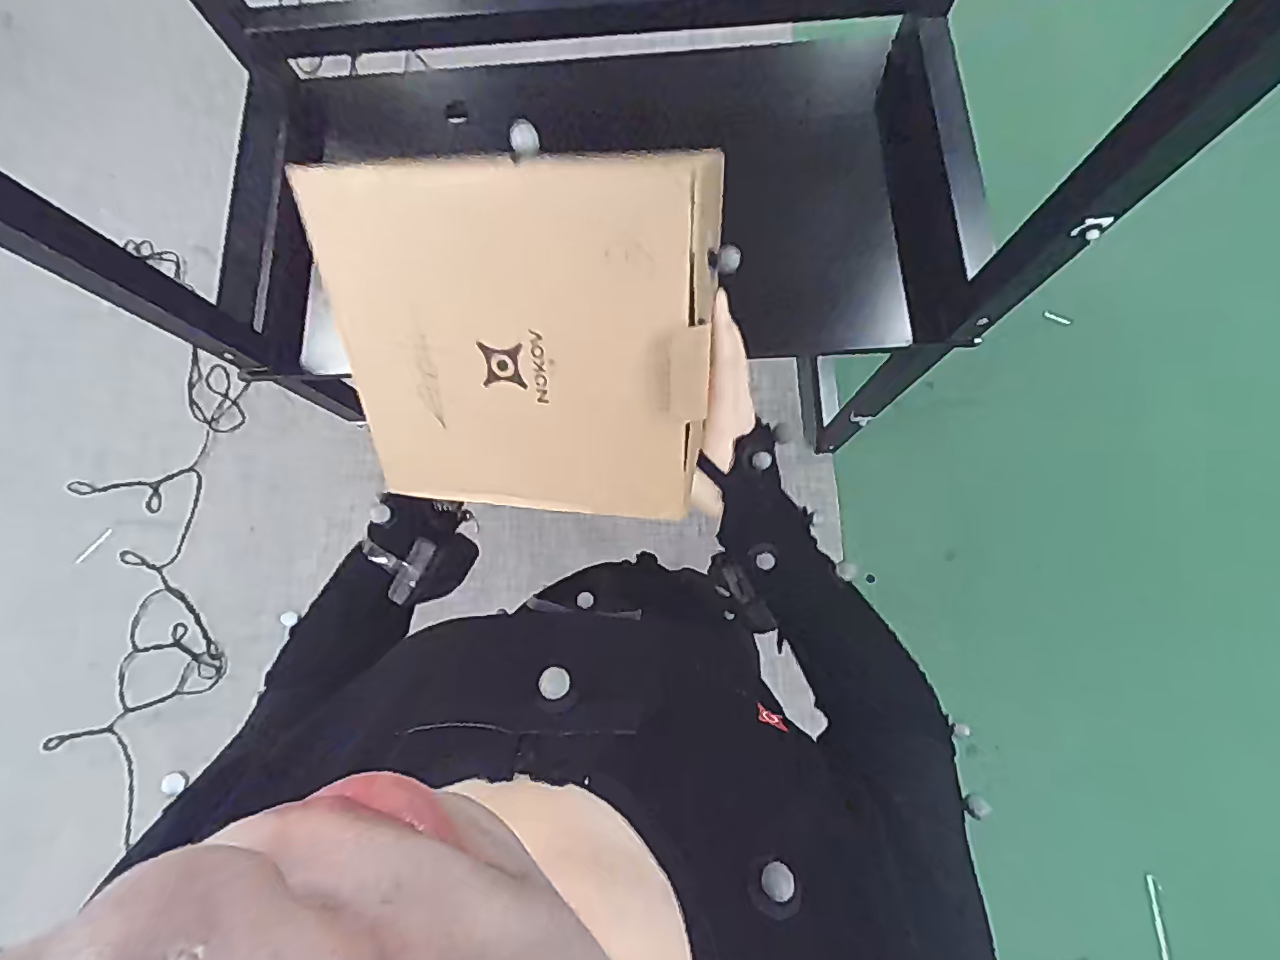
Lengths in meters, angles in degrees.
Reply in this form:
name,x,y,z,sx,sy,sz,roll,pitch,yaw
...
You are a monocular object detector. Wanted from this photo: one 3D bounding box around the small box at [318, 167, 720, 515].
name,x,y,z,sx,sy,sz,roll,pitch,yaw
small box,-0.045,-0.098,0.336,0.179,0.176,0.168,5,121,10
